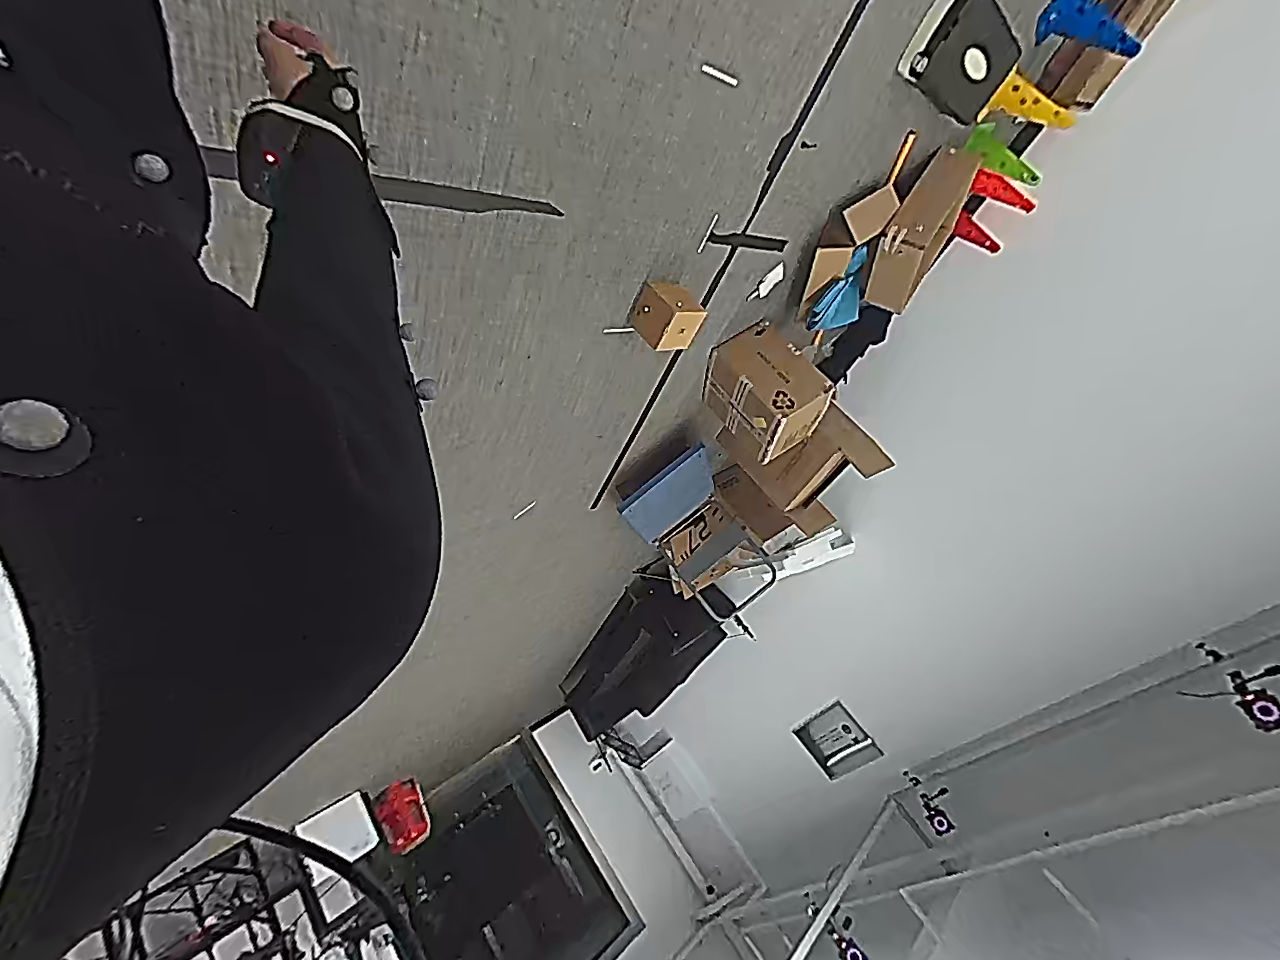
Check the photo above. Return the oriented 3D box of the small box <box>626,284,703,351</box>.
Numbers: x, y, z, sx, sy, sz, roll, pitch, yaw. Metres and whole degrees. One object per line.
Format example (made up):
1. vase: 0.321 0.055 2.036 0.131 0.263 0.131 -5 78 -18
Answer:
1. small box: 0.086 -0.582 1.931 0.179 0.176 0.168 -17 150 -43
